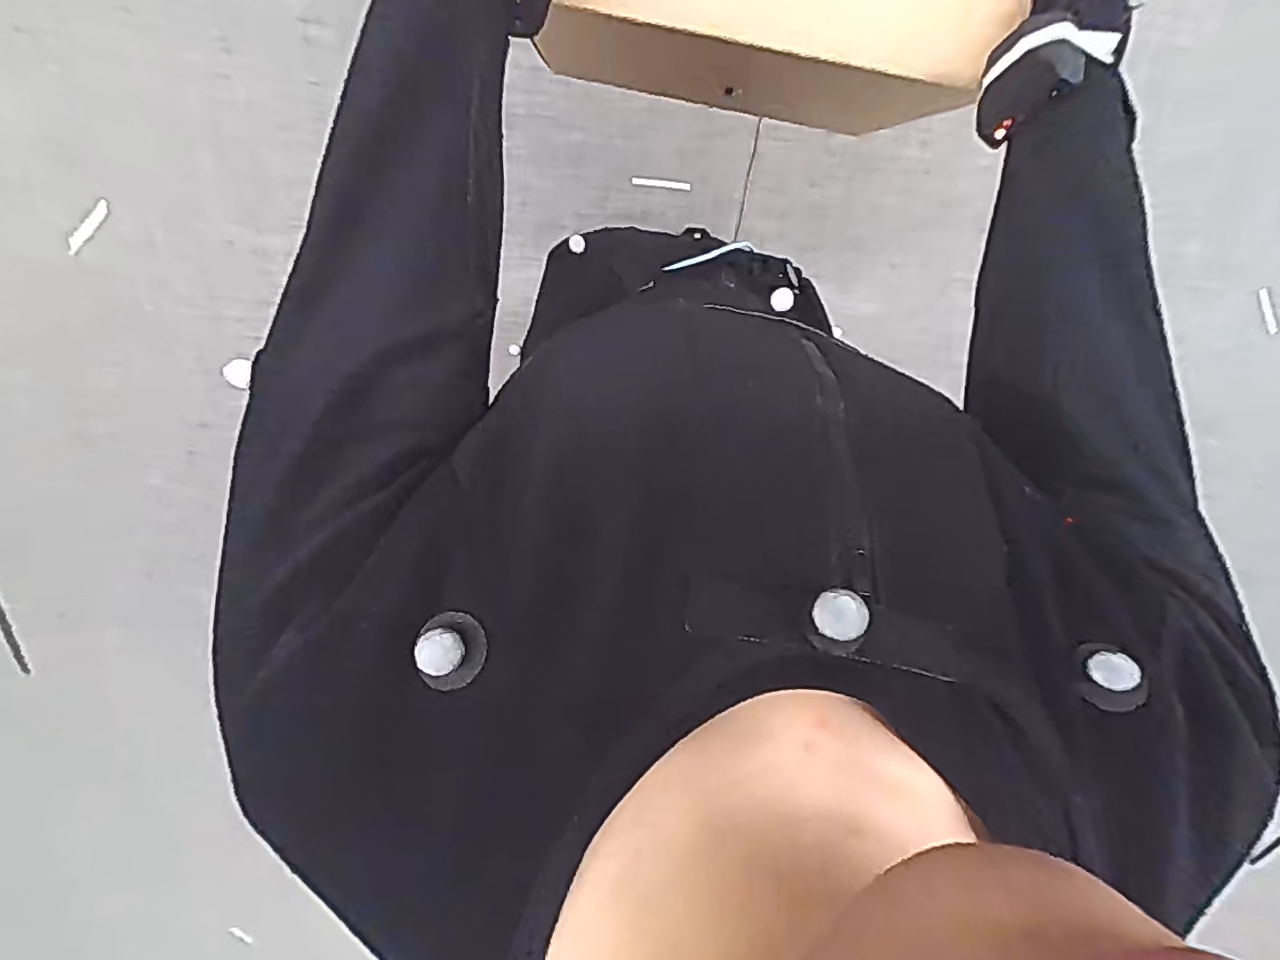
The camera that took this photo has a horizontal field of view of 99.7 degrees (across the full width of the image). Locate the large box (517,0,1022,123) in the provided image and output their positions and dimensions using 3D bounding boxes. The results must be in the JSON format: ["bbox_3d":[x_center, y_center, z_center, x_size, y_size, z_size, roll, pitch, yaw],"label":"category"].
[{"bbox_3d":[0.117,-0.551,0.490,0.408,0.320,0.320,8,116,-5],"label":"large box"}]
